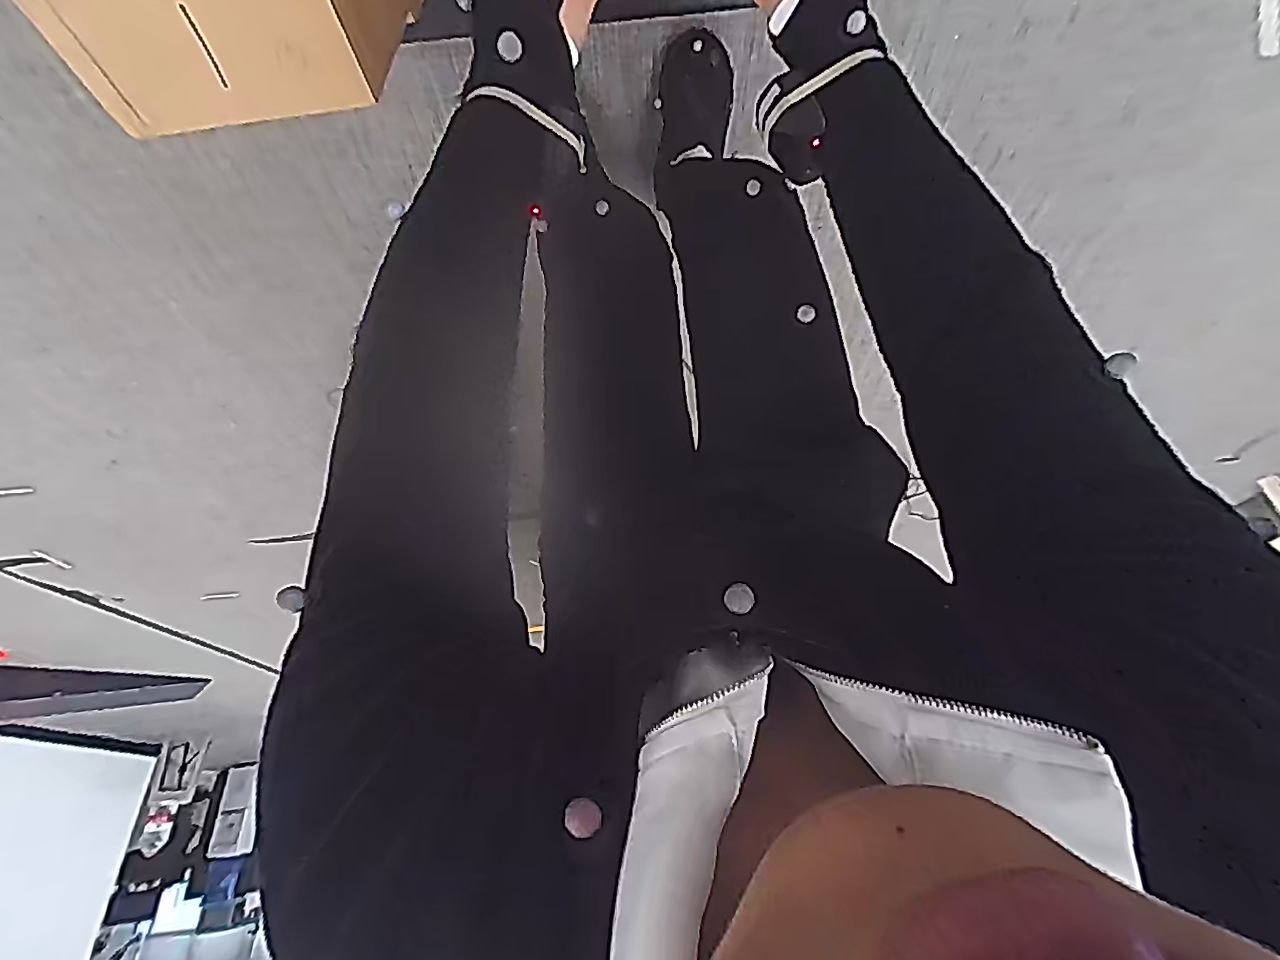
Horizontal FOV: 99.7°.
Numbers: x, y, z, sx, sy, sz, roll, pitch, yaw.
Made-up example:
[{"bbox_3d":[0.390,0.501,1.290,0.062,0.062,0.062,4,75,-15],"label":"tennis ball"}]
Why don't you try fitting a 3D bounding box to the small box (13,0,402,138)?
[{"bbox_3d":[-0.263,-0.343,0.318,0.168,0.176,0.179,-7,148,1],"label":"small box"}]
